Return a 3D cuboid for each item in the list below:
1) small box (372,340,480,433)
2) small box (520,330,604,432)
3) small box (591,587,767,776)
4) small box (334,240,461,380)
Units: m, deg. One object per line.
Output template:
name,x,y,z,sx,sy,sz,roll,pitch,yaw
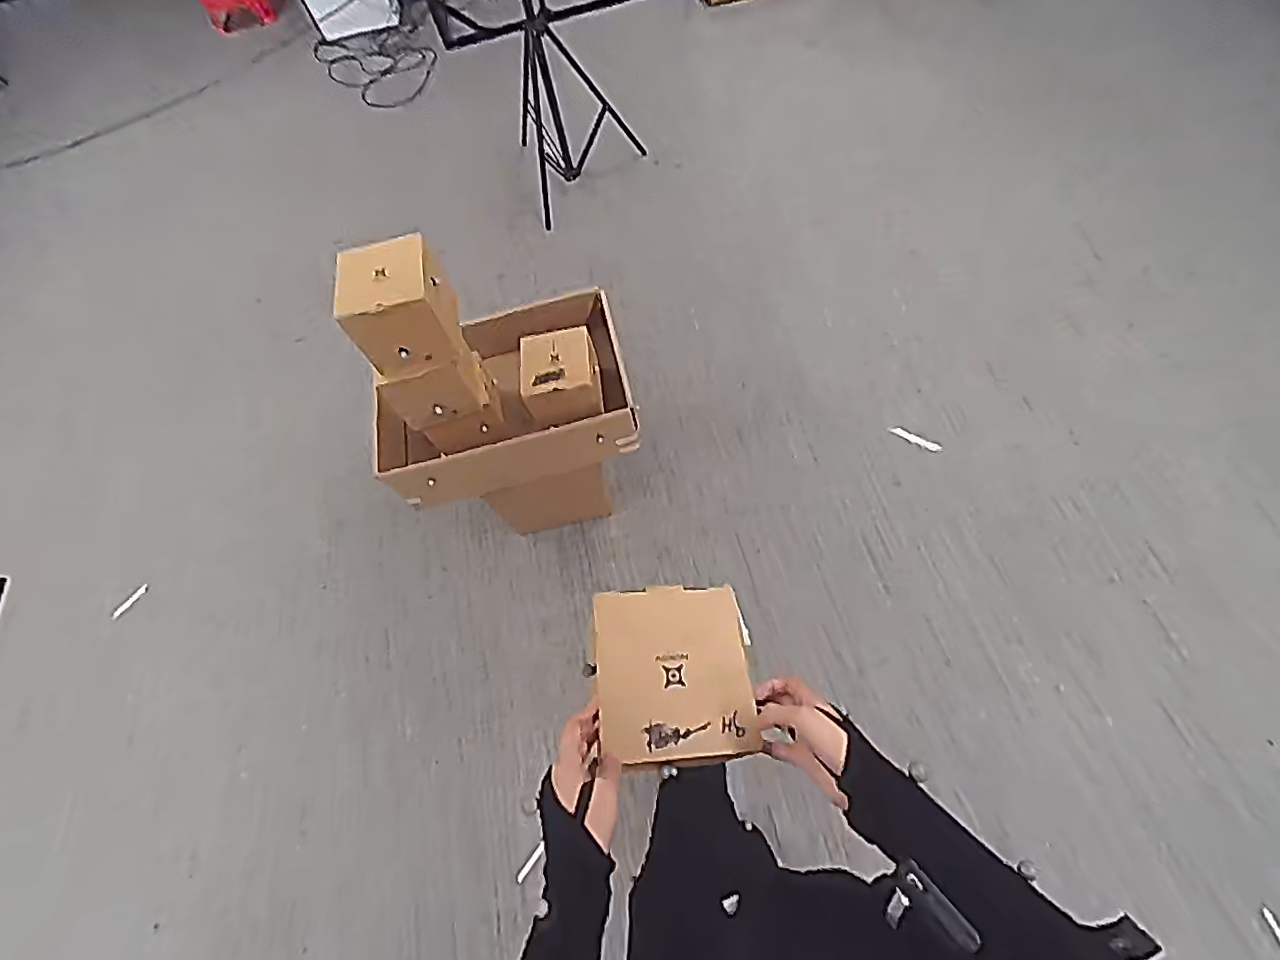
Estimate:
small box,-0.467,-0.233,1.187,0.168,0.176,0.179,-18,63,-2
small box,-0.188,-0.232,1.325,0.168,0.176,0.179,-9,64,5
small box,0.030,0.241,0.642,0.168,0.176,0.179,-1,59,-9
small box,-0.462,-0.324,1.049,0.168,0.176,0.179,-15,63,-1
